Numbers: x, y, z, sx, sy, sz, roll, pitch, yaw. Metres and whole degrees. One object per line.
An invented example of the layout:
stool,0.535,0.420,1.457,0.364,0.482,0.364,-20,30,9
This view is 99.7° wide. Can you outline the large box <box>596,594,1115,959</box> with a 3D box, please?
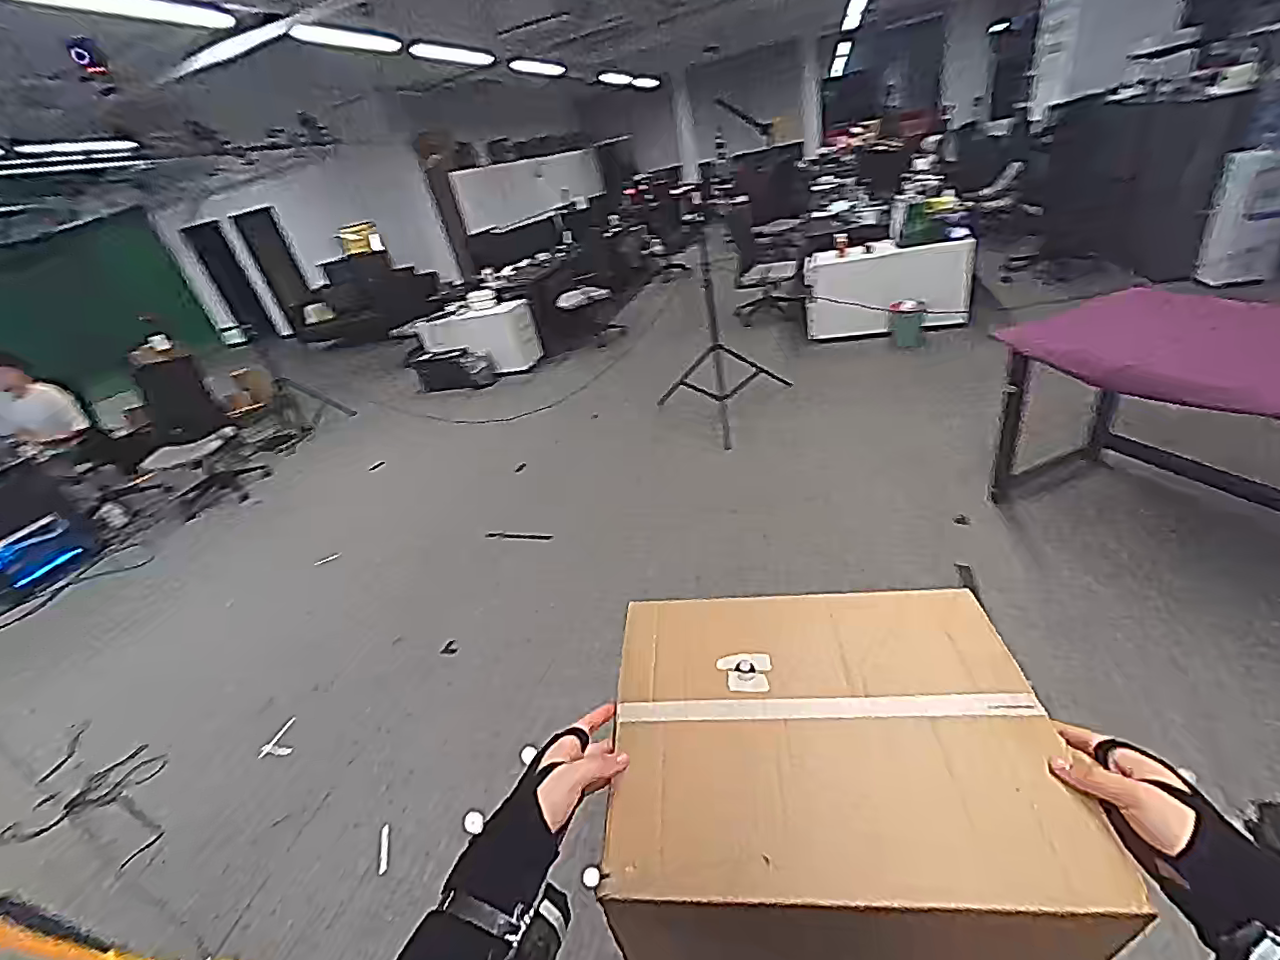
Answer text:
large box,0.186,0.363,0.625,0.408,0.320,0.320,-5,33,7
